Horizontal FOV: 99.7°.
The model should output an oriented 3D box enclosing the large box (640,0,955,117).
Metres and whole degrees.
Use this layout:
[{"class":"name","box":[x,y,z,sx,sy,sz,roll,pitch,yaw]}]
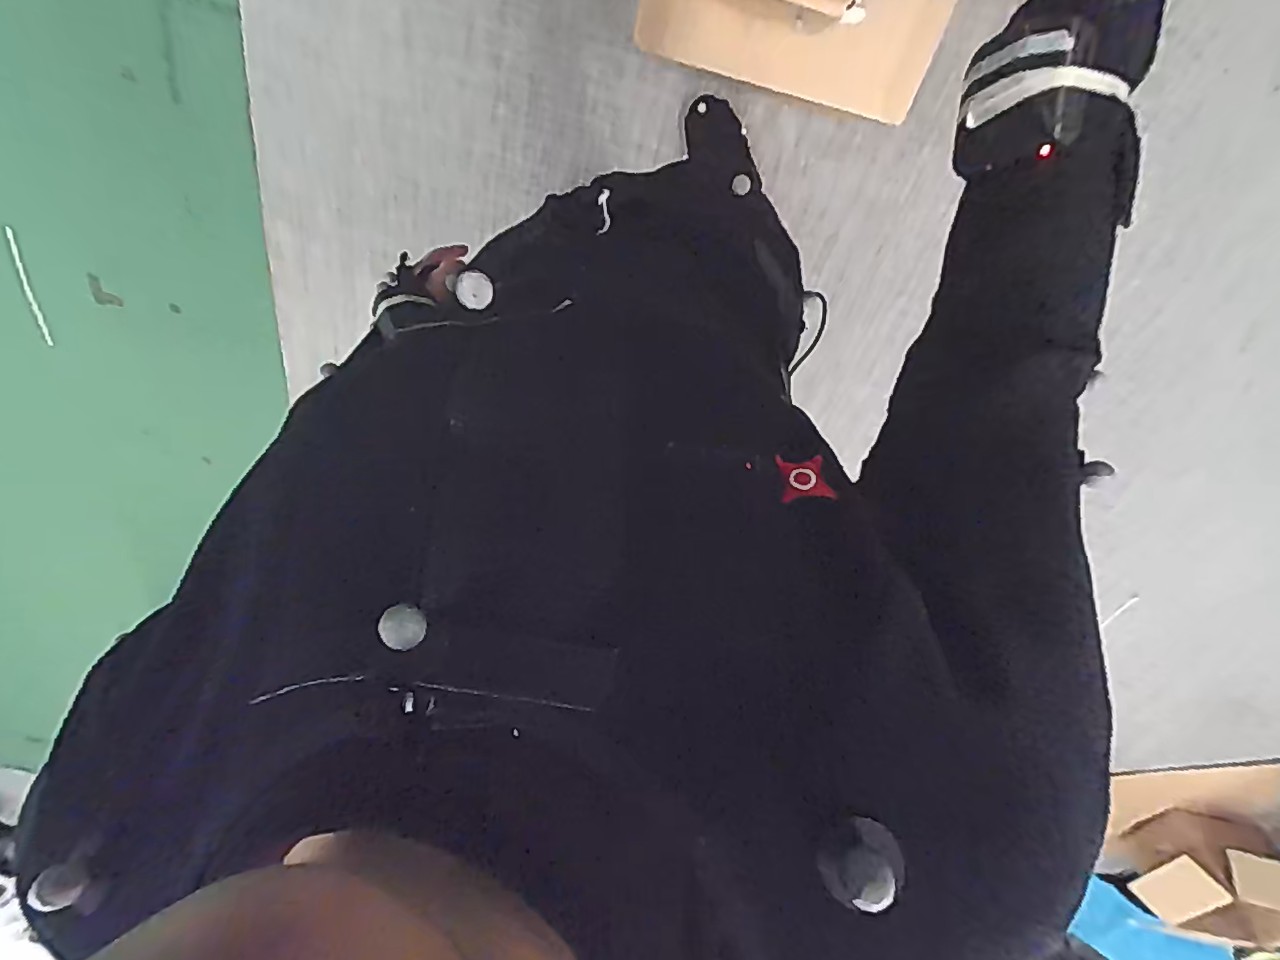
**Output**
[{"class":"large box","box":[0.233,-0.769,0.801,0.408,0.320,0.320,13,126,-4]}]
